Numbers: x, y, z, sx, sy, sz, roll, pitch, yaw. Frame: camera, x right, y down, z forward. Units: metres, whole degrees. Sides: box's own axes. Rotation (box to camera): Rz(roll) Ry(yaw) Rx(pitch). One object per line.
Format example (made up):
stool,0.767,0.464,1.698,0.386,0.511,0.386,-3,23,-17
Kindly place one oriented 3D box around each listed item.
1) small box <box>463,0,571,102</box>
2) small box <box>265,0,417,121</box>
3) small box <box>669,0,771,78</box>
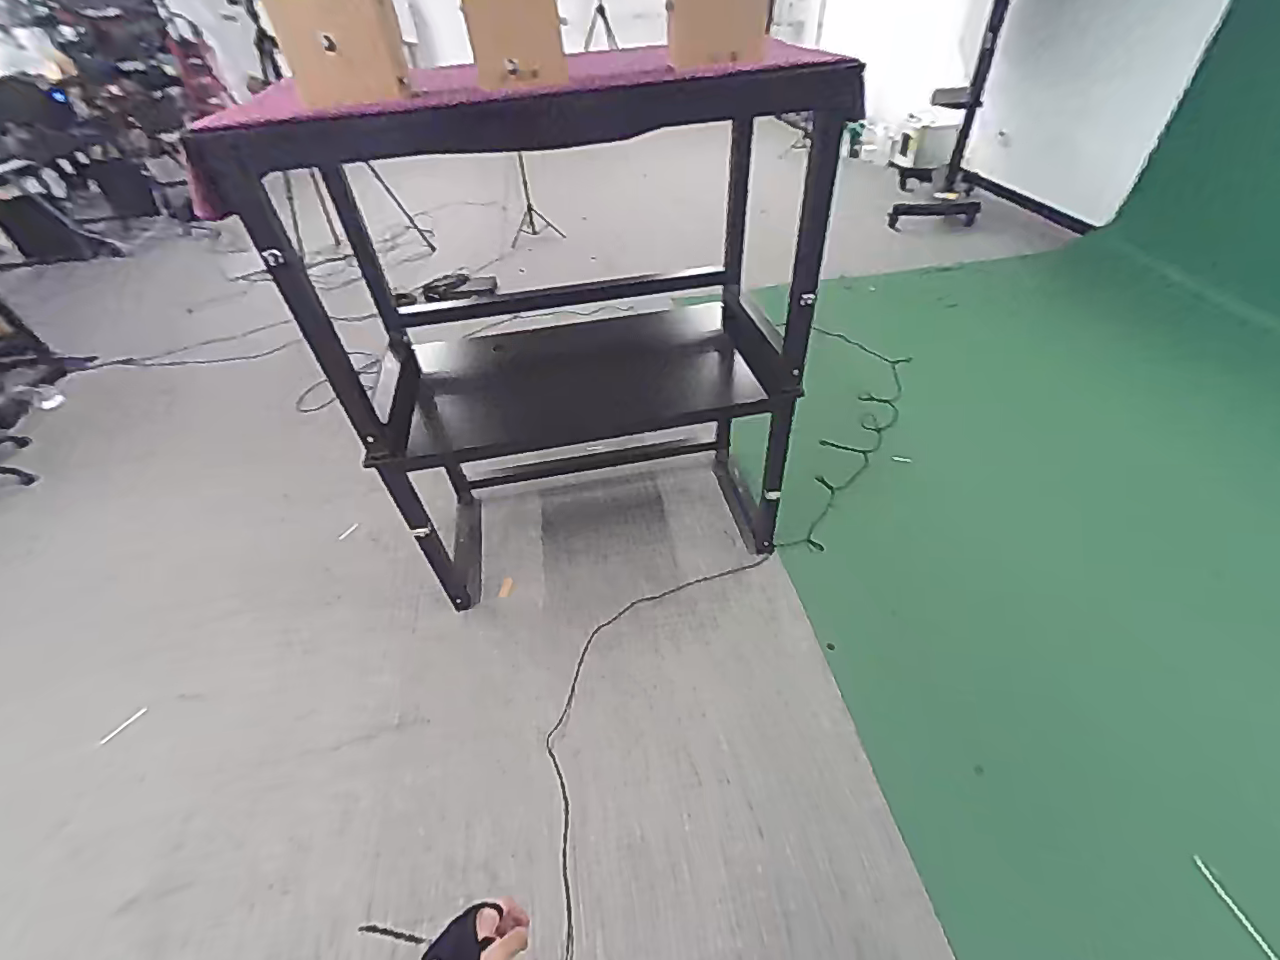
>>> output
small box,-0.225,-0.825,1.012,0.168,0.176,0.179,-9,43,-2
small box,-0.528,-0.778,0.989,0.179,0.176,0.168,-10,43,-4
small box,0.148,-0.894,1.046,0.168,0.176,0.179,-8,43,-1
